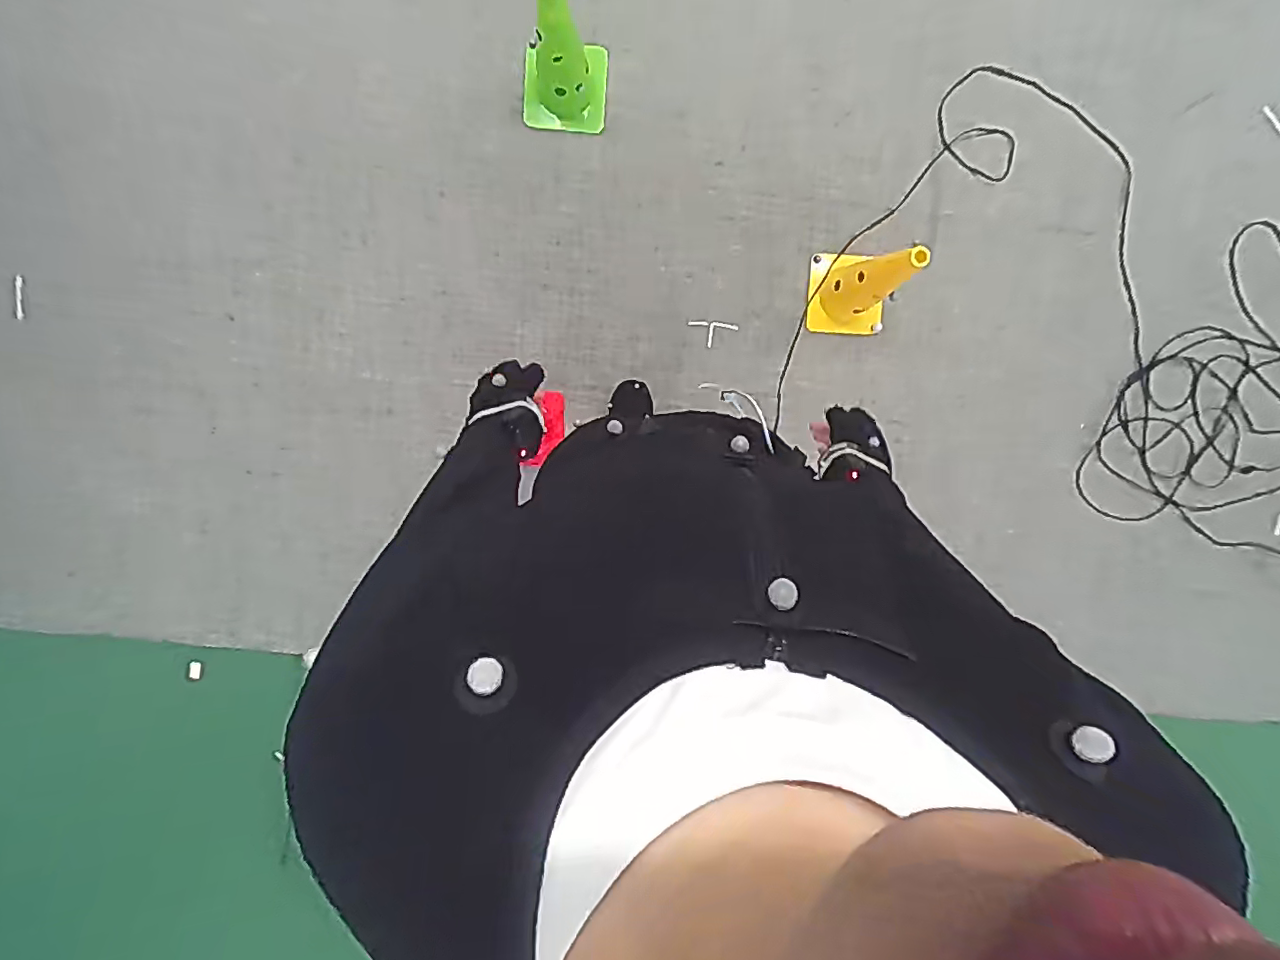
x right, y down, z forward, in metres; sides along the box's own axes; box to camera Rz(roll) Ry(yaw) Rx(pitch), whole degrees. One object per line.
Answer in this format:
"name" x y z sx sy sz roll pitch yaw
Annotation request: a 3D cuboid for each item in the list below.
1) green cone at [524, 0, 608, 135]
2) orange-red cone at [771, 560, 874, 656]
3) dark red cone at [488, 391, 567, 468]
"green cone" -0.173 -0.943 1.164 0.202 0.368 0.200 3 97 -4
"orange-red cone" 0.480 0.343 1.347 0.198 0.360 0.199 5 96 -4
"dark red cone" -0.284 -0.107 1.241 0.202 0.394 0.201 0 98 -2
